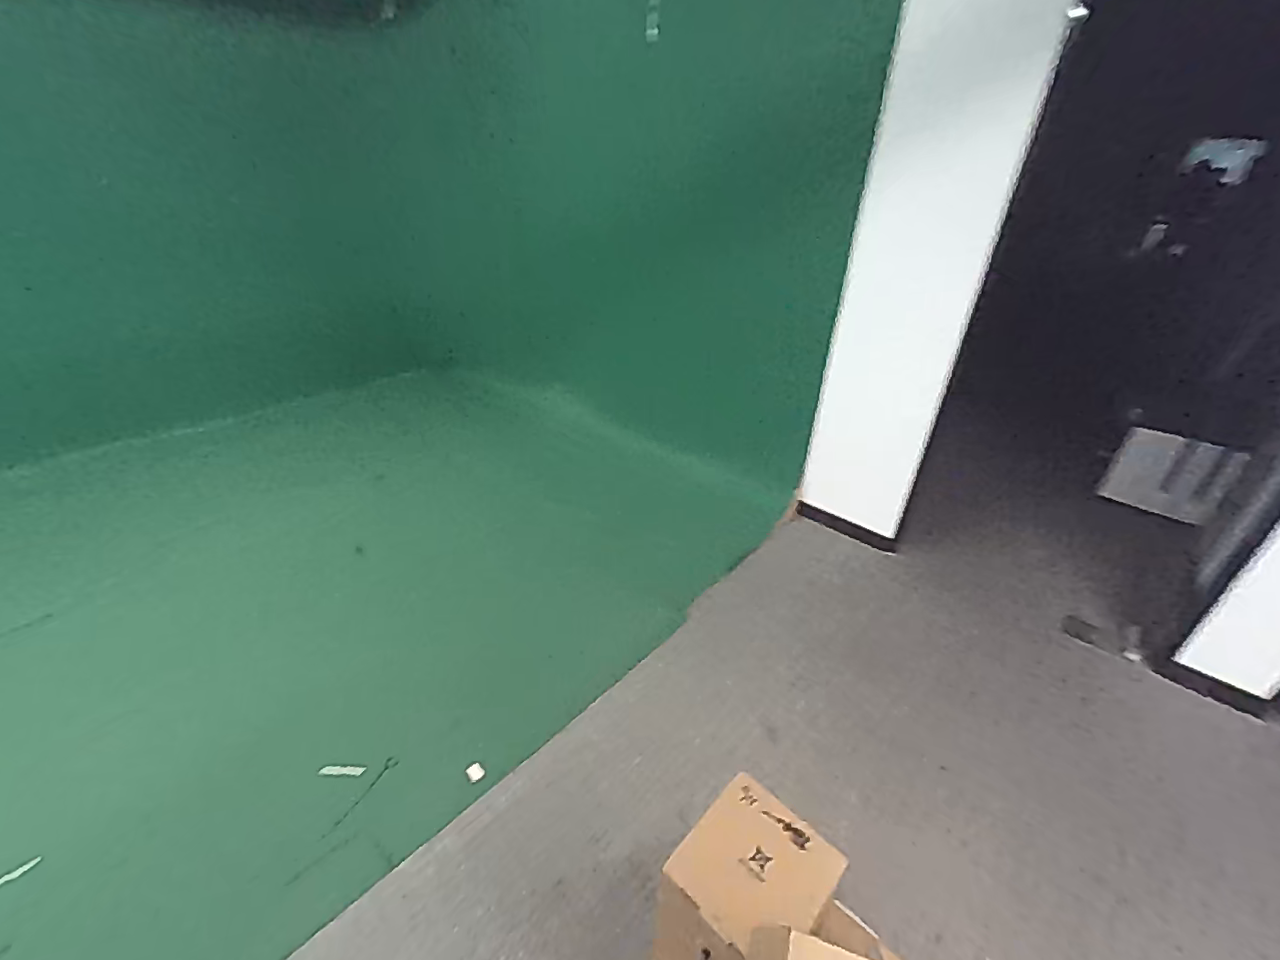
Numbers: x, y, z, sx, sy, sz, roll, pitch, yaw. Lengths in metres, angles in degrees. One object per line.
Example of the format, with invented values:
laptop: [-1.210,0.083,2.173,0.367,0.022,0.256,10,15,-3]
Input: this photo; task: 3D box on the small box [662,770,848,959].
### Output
small box: [0.146,0.544,0.717,0.168,0.176,0.179,29,43,35]
